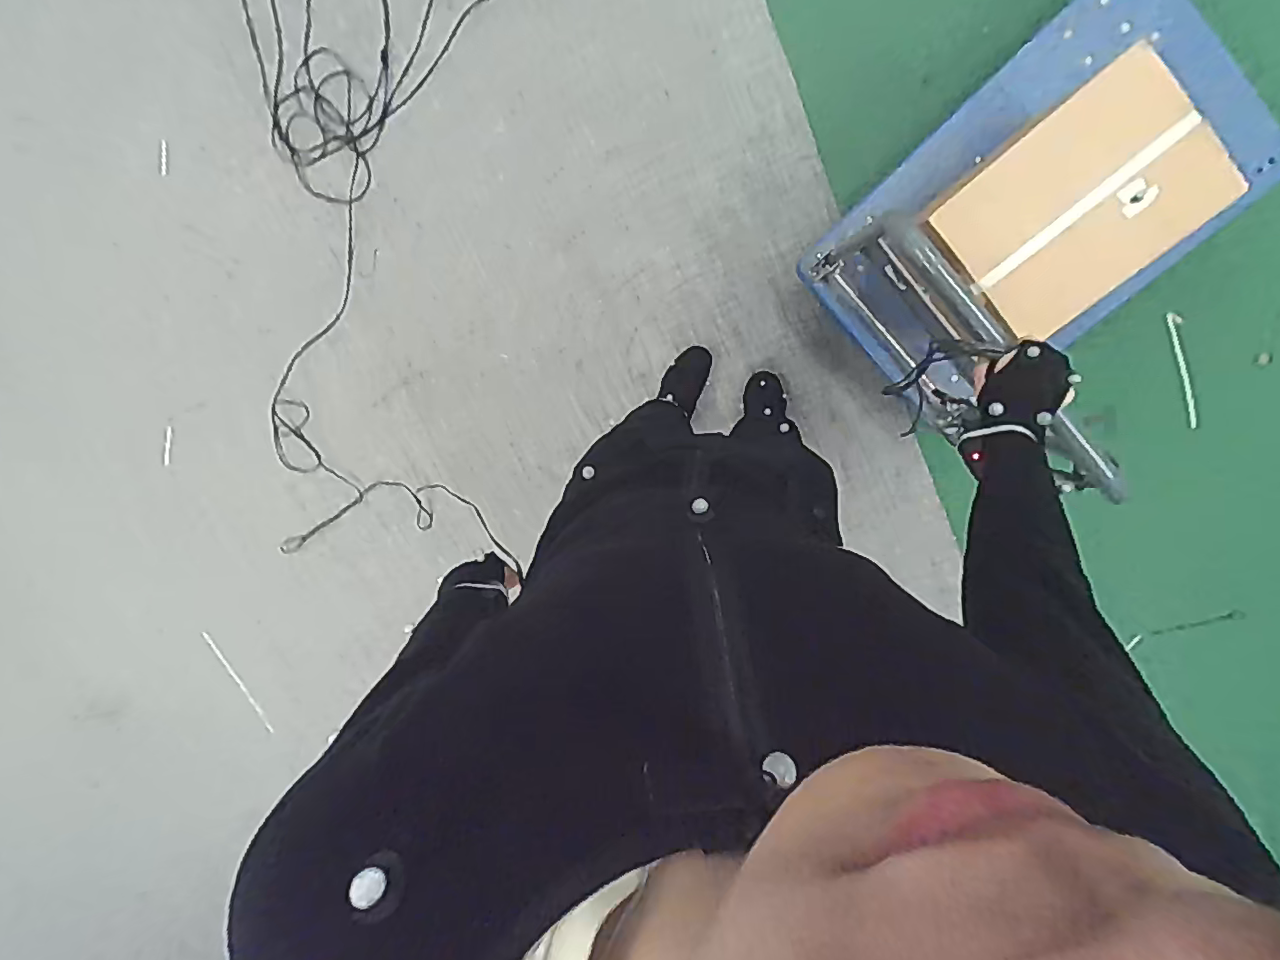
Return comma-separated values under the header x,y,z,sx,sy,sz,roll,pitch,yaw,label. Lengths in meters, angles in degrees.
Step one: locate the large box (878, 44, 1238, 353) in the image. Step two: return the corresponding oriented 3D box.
x,y,z,sx,sy,sz,roll,pitch,yaw,label
0.772,-0.503,1.077,0.408,0.320,0.320,-39,96,13,large box
